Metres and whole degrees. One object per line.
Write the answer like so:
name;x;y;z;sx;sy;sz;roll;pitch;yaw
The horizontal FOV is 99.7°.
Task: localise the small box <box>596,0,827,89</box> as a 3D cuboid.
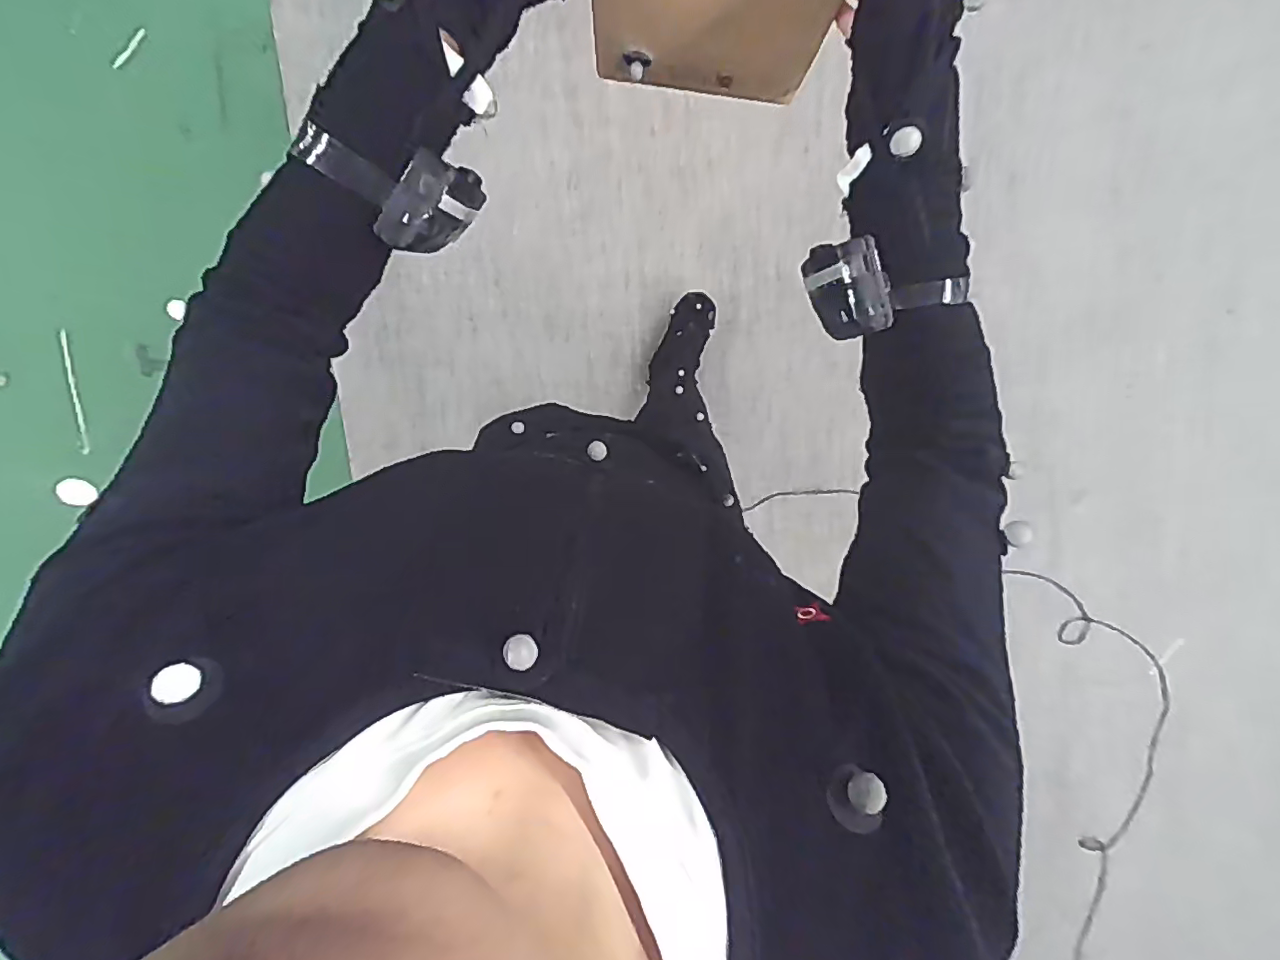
small box;0.057;-0.410;0.366;0.168;0.176;0.179;7;94;-2
